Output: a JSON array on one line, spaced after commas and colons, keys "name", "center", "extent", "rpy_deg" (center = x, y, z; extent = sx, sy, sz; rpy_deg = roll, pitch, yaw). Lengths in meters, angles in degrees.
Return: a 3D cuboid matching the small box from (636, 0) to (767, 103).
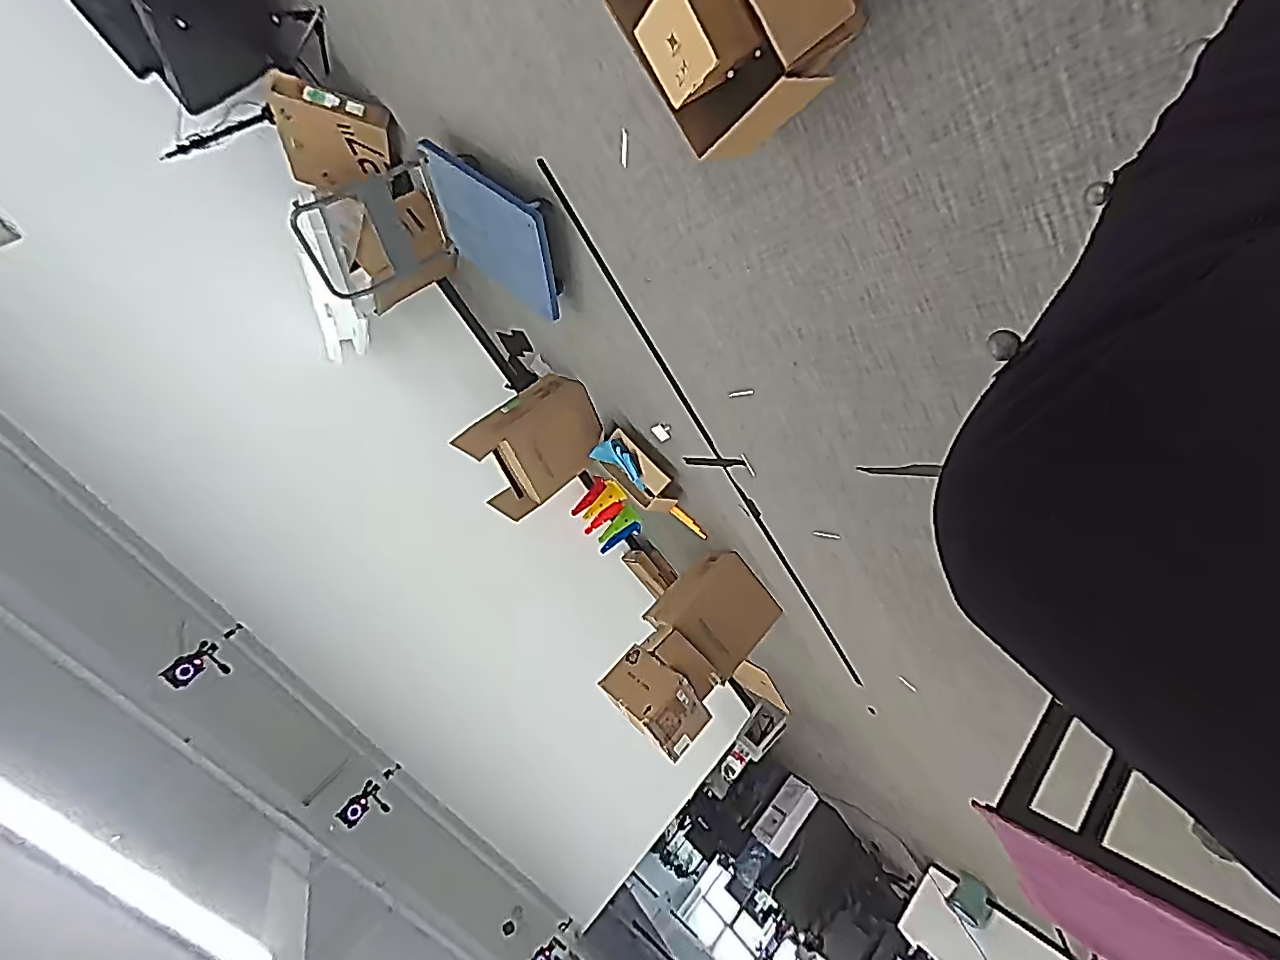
[{"name": "small box", "center": [0.130, -0.958, 1.141], "extent": [0.179, 0.176, 0.168], "rpy_deg": [54, 159, -18]}]
